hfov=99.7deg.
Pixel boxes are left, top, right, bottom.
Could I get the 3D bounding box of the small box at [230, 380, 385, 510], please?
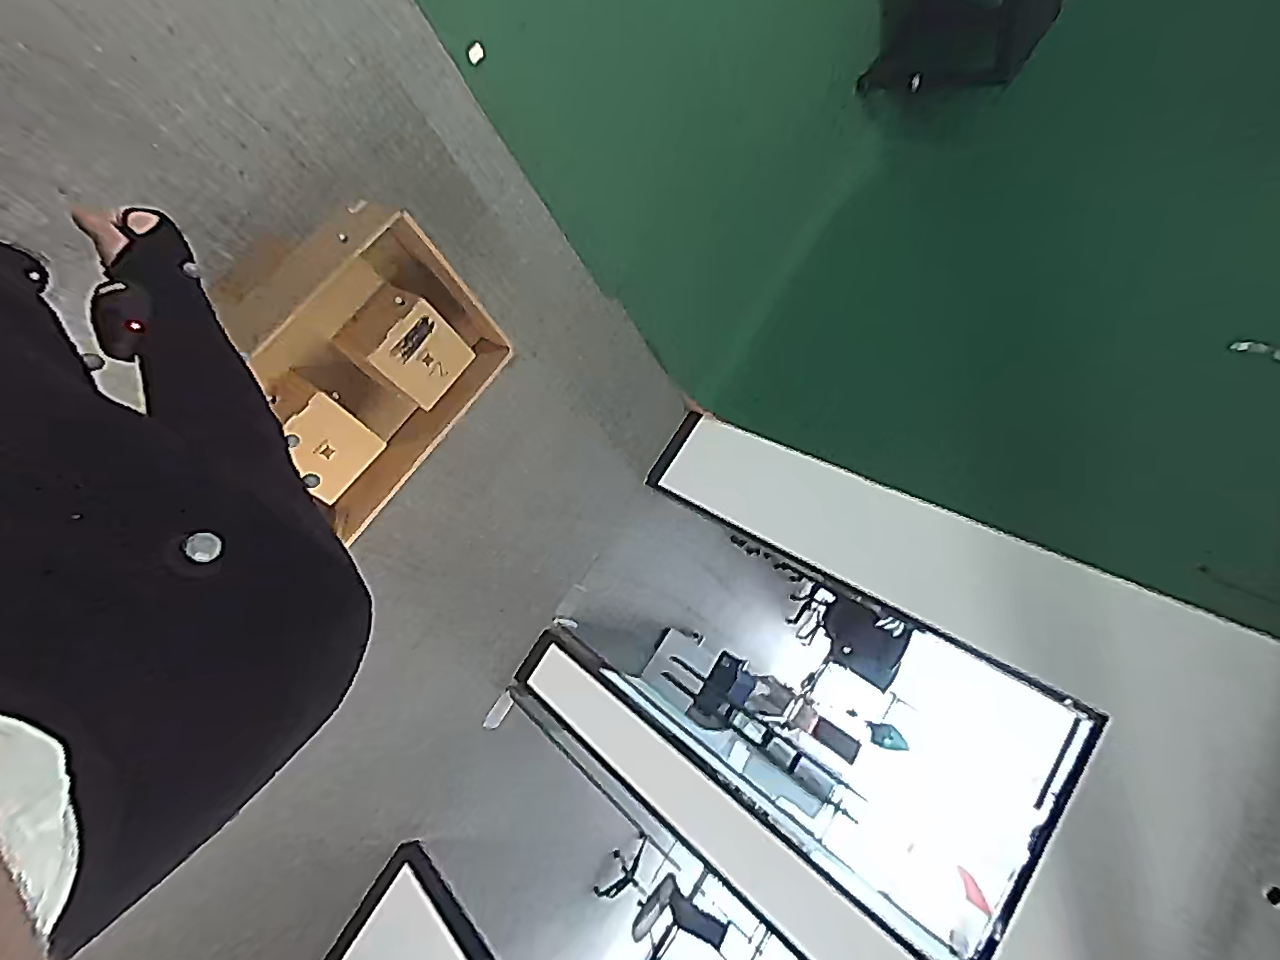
[{"bbox_3d":[-0.659,-0.074,1.077,0.168,0.176,0.179,-52,143,-14],"label":"small box"}]
